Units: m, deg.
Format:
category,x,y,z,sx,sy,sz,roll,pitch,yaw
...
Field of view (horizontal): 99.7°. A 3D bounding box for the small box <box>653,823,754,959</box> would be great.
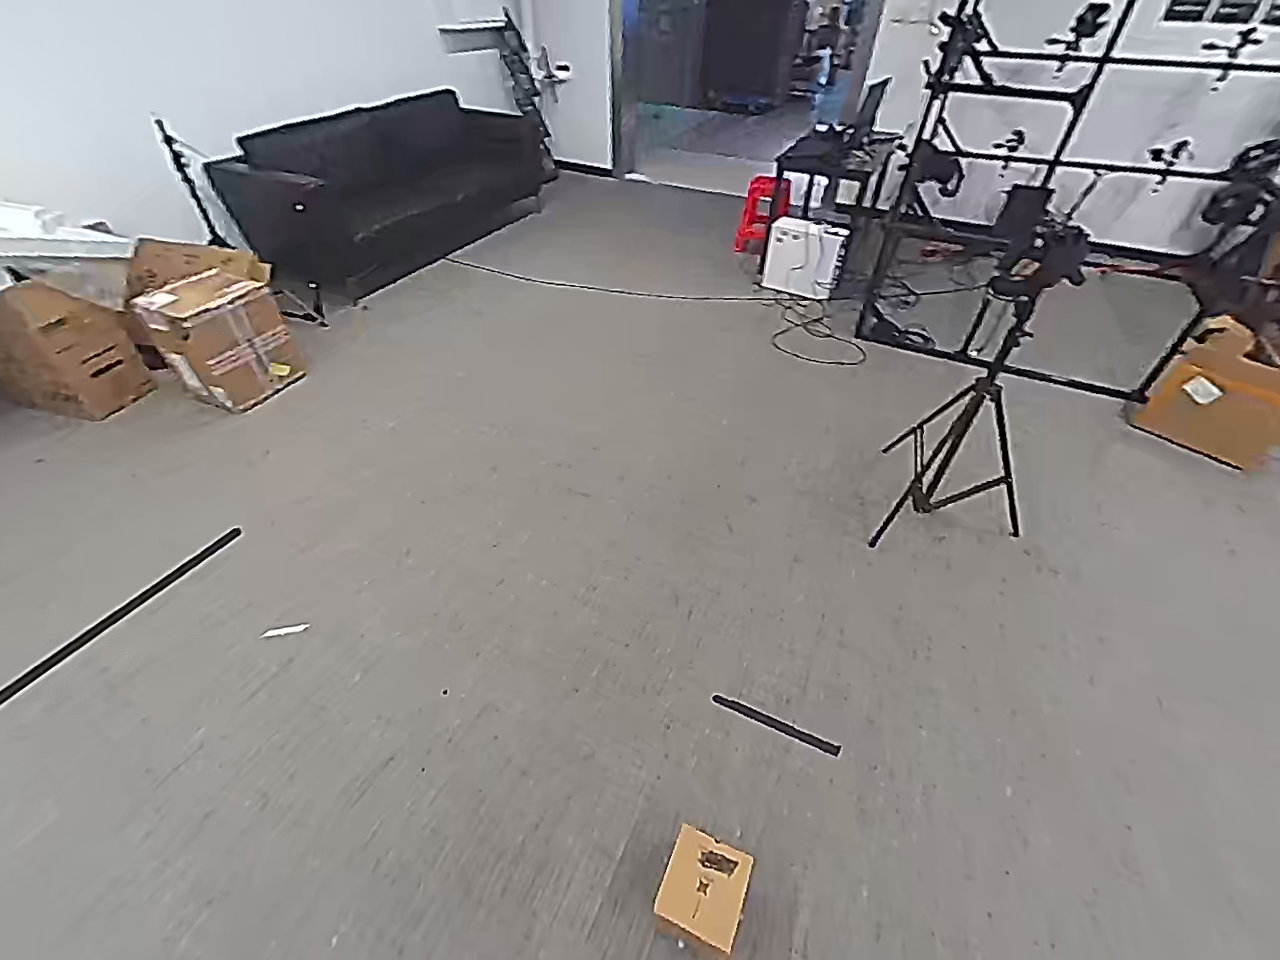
category,x,y,z,sx,sy,sz,roll,pitch,yaw
small box,0.133,0.894,1.171,0.168,0.176,0.179,18,46,17
